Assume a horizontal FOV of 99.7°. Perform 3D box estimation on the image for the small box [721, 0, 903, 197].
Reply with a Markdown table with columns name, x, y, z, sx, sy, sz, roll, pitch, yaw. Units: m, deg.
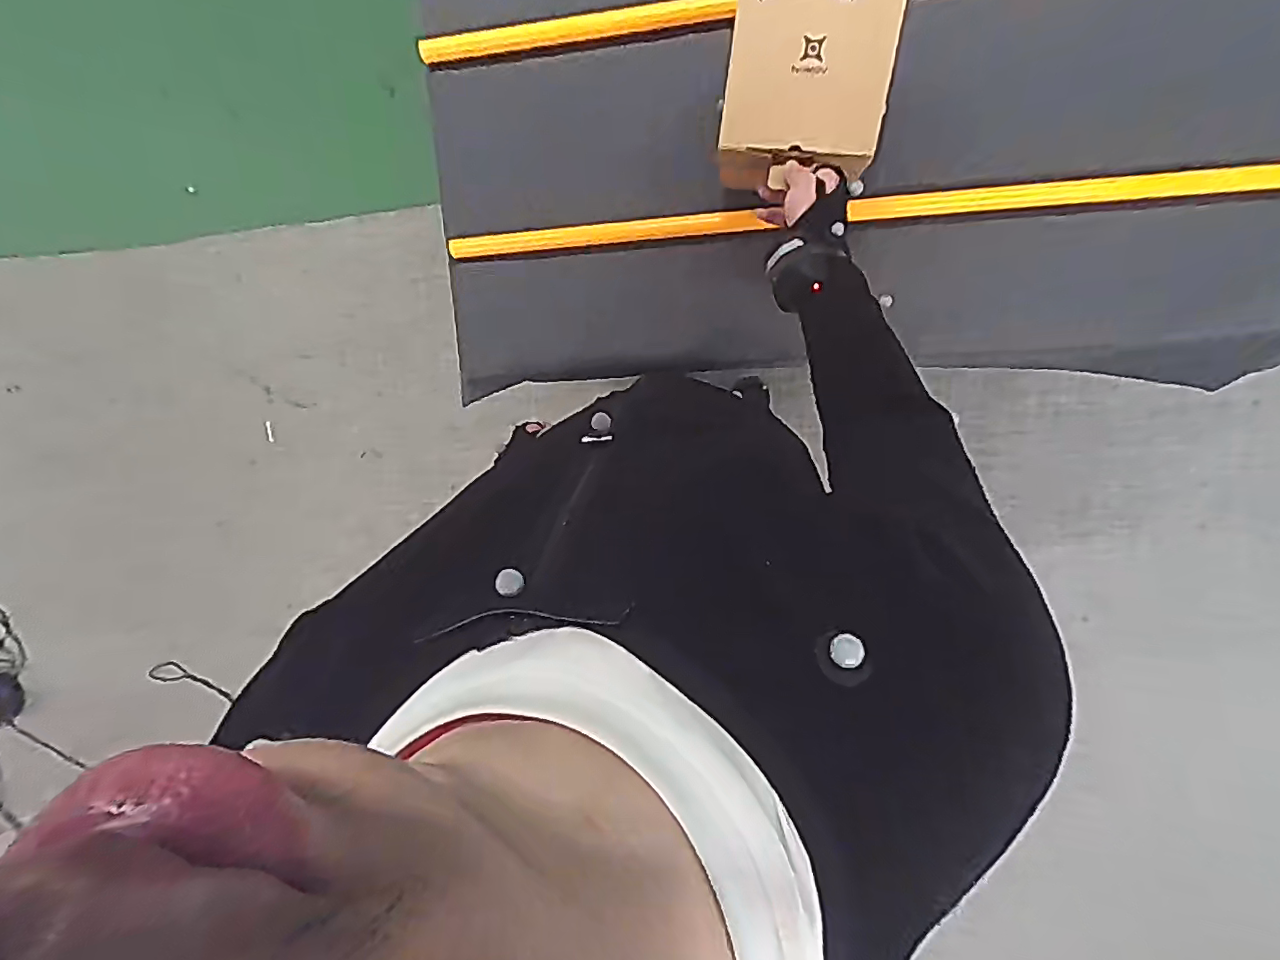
| name | x | y | z | sx | sy | sz | roll | pitch | yaw |
| --- | --- | --- | --- | --- | --- | --- | --- | --- | --- |
| small box | 0.194 | -0.448 | 0.642 | 0.168 | 0.176 | 0.179 | 7 | 107 | 10 |
